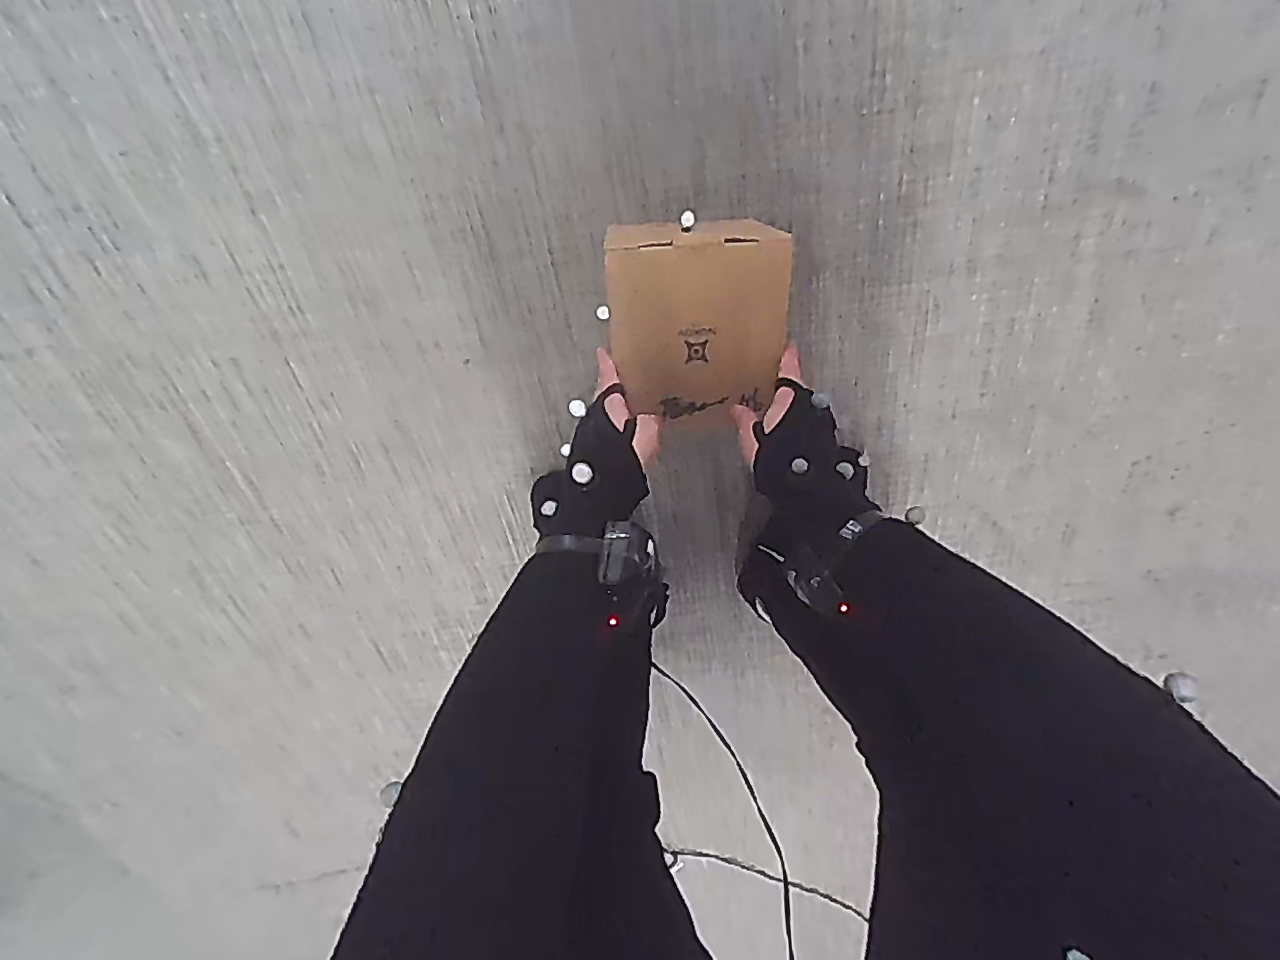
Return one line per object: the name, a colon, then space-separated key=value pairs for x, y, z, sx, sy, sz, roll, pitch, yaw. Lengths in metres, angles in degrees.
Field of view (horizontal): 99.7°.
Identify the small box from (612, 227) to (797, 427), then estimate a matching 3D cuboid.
small box: x=0.057 y=-0.172 z=0.581 sx=0.168 sy=0.176 sz=0.179 roll=-3 pitch=119 yaw=-1
